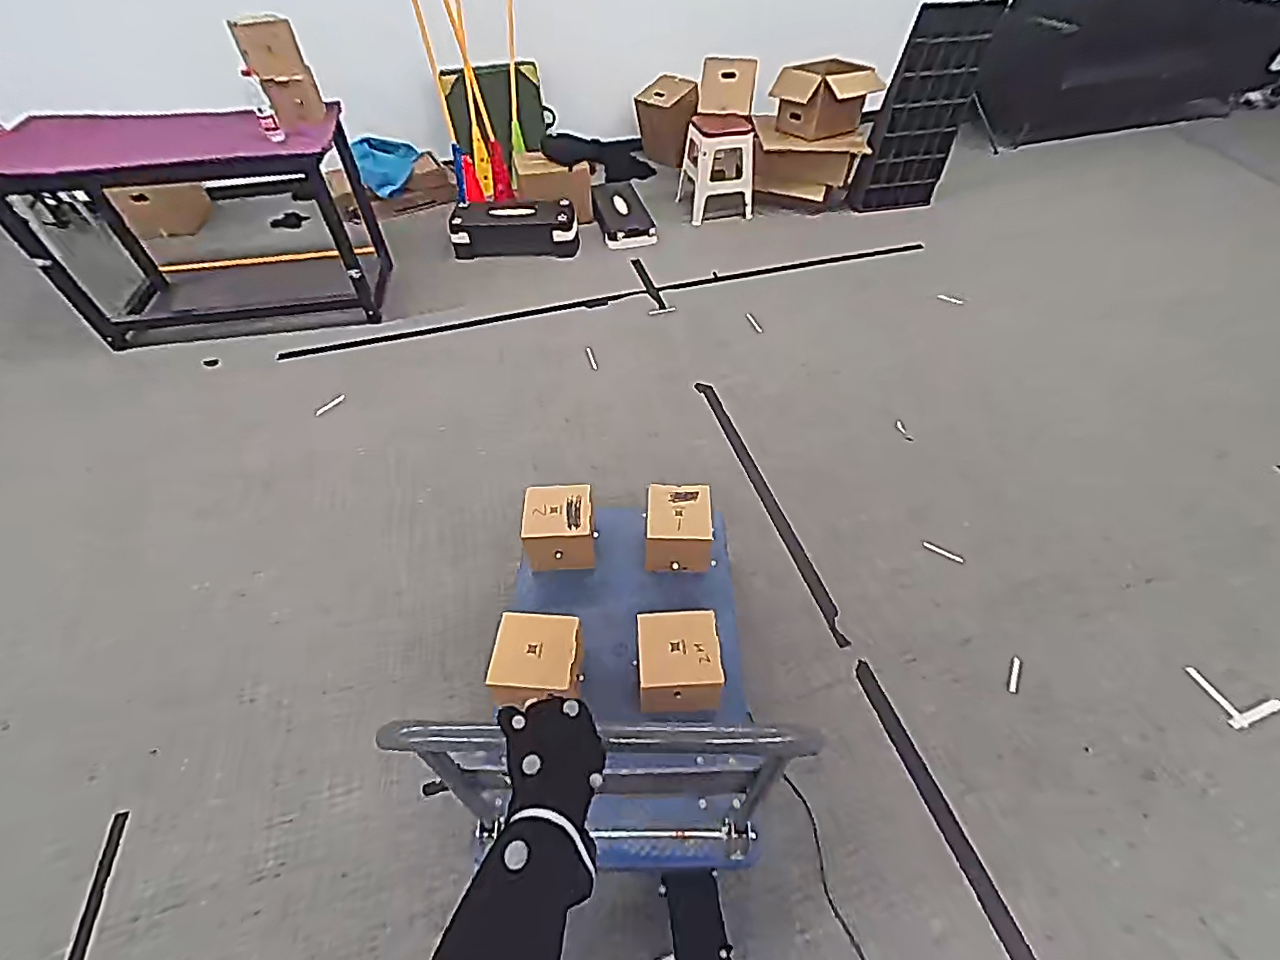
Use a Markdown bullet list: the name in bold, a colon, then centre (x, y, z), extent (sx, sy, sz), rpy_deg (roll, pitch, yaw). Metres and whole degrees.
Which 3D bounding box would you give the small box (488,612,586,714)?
- **small box**: centre (-0.222, 0.415, 1.218), extent (0.179, 0.176, 0.168), rpy_deg (3, 49, 2)

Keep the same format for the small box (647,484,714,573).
- **small box**: centre (0.105, 0.131, 1.457), extent (0.168, 0.176, 0.179), rpy_deg (1, 50, 2)

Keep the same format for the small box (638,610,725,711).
- **small box**: centre (0.088, 0.410, 1.217), extent (0.179, 0.176, 0.168), rpy_deg (-2, 49, -1)
